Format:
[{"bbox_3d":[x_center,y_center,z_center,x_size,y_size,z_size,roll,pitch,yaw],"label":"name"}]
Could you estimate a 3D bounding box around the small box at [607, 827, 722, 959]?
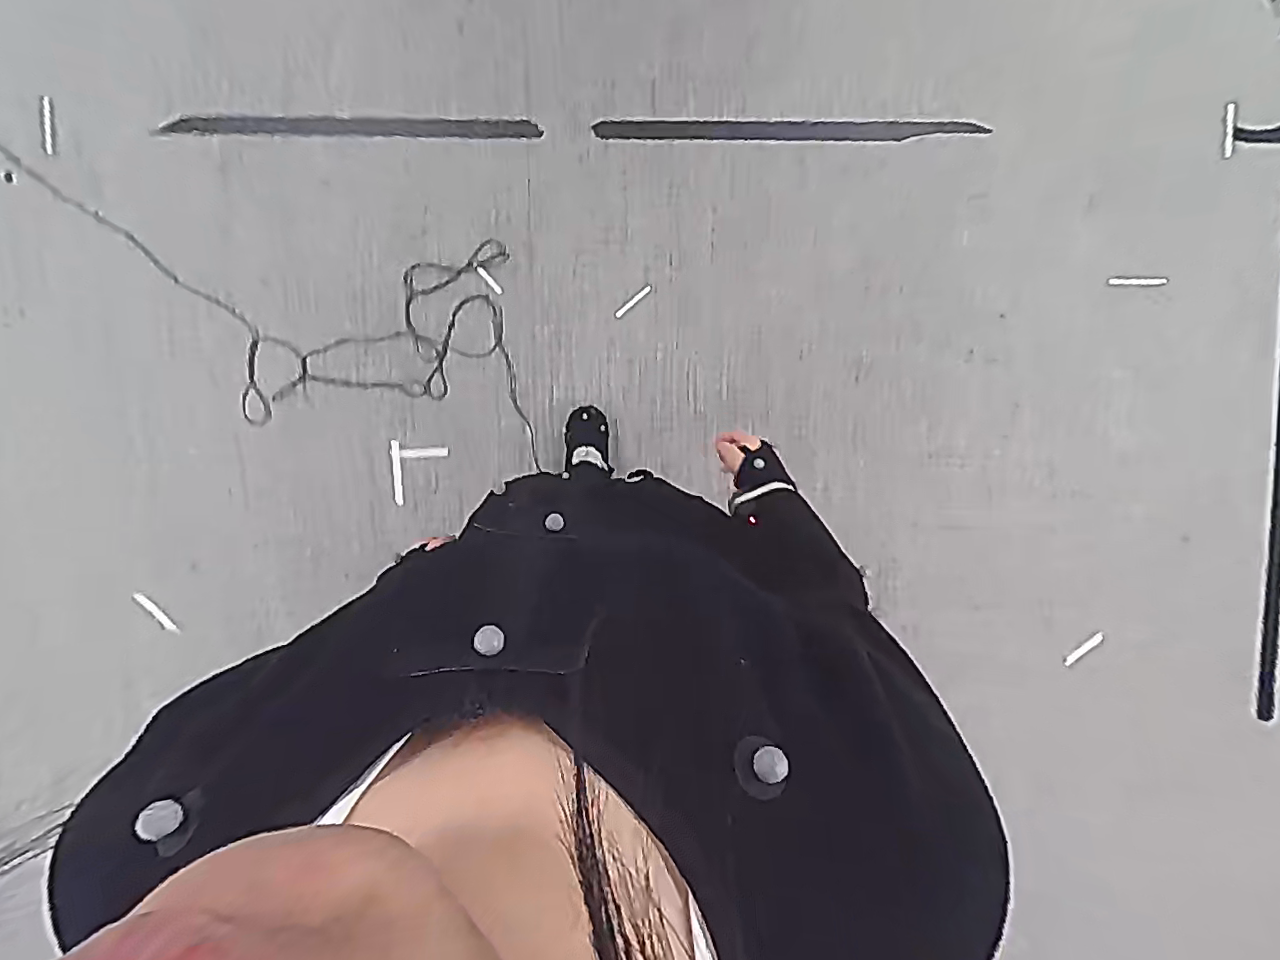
[{"bbox_3d":[0.035,0.688,0.859,0.168,0.176,0.179,1,92,1],"label":"small box"}]
